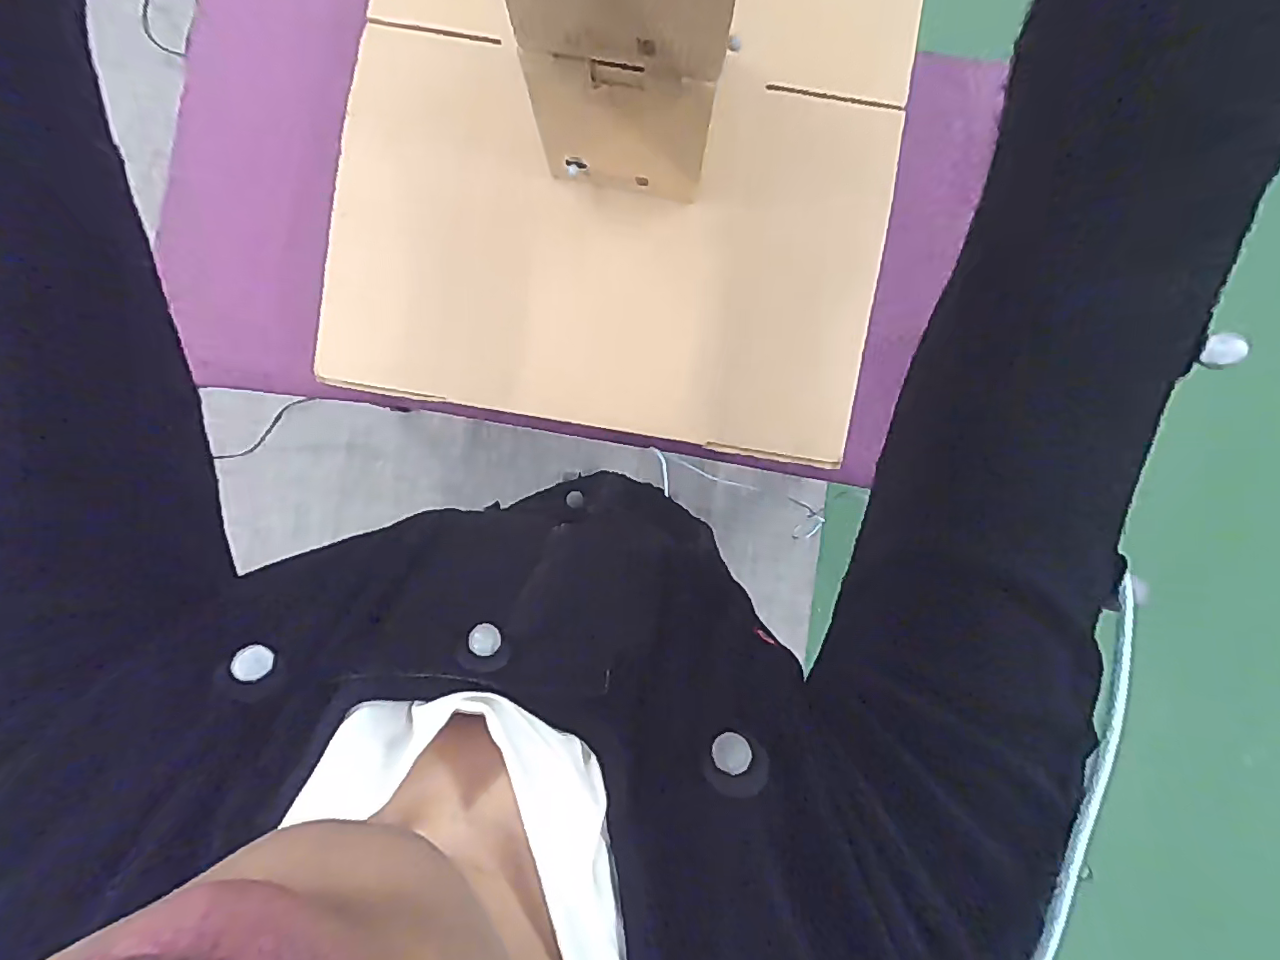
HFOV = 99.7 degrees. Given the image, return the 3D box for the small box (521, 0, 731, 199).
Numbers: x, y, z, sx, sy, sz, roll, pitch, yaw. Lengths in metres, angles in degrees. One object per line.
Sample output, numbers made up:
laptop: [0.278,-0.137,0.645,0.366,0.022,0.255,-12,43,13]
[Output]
small box: [-0.005,-0.400,0.517,0.168,0.176,0.179,7,88,0]
